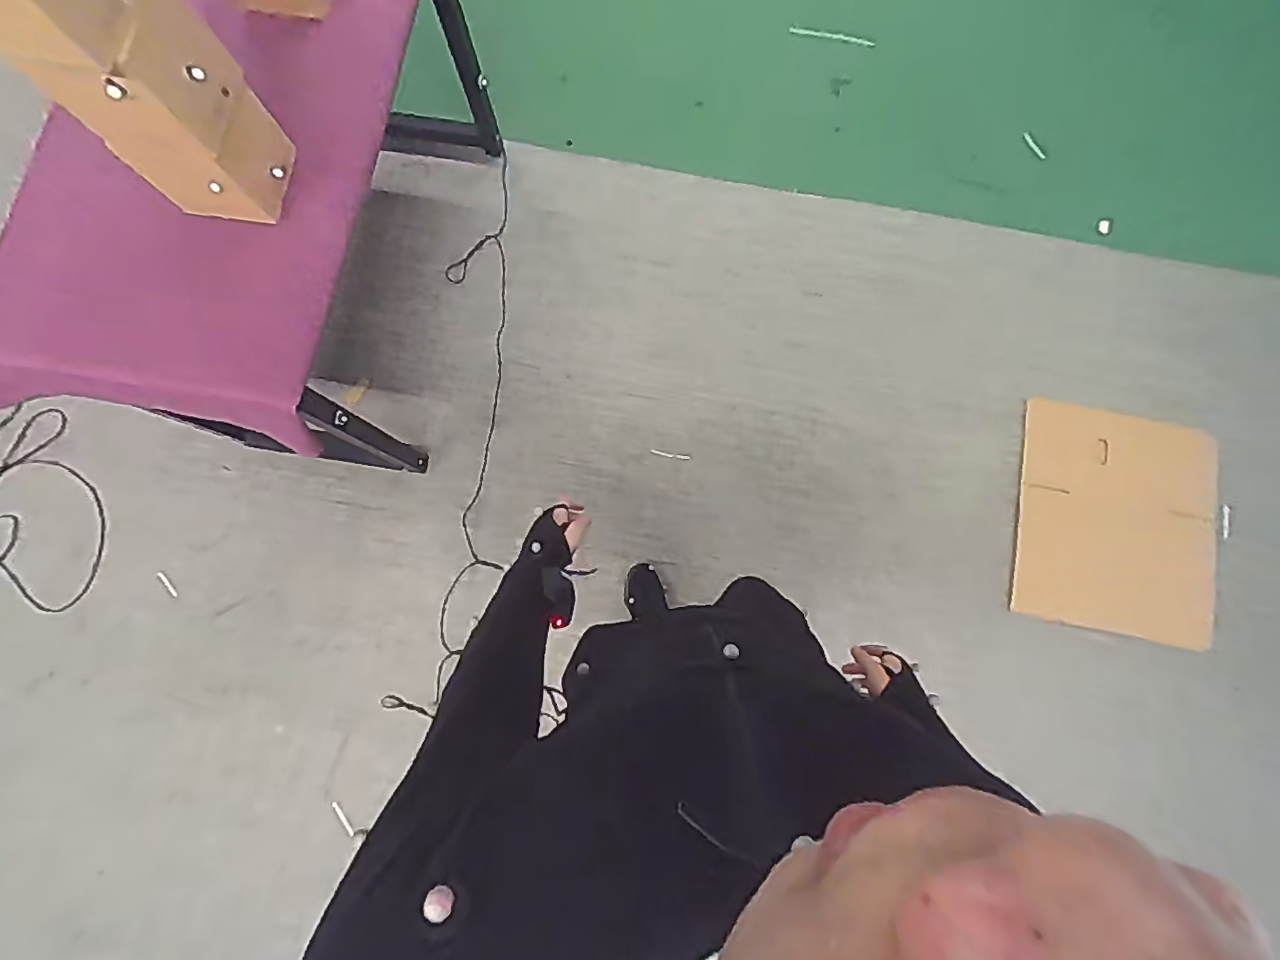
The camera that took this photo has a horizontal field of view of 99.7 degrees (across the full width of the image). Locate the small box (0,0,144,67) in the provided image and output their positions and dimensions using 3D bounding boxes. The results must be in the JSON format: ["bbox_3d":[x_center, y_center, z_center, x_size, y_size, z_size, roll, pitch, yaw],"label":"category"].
[{"bbox_3d":[-0.739,-0.626,0.624,0.179,0.176,0.168,11,81,1],"label":"small box"}]

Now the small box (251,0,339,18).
[{"bbox_3d":[-0.691,-1.036,1.029,0.179,0.176,0.168,11,82,2],"label":"small box"}]

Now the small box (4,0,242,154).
[{"bbox_3d":[-0.735,-0.613,0.789,0.179,0.176,0.168,8,80,1],"label":"small box"}]
